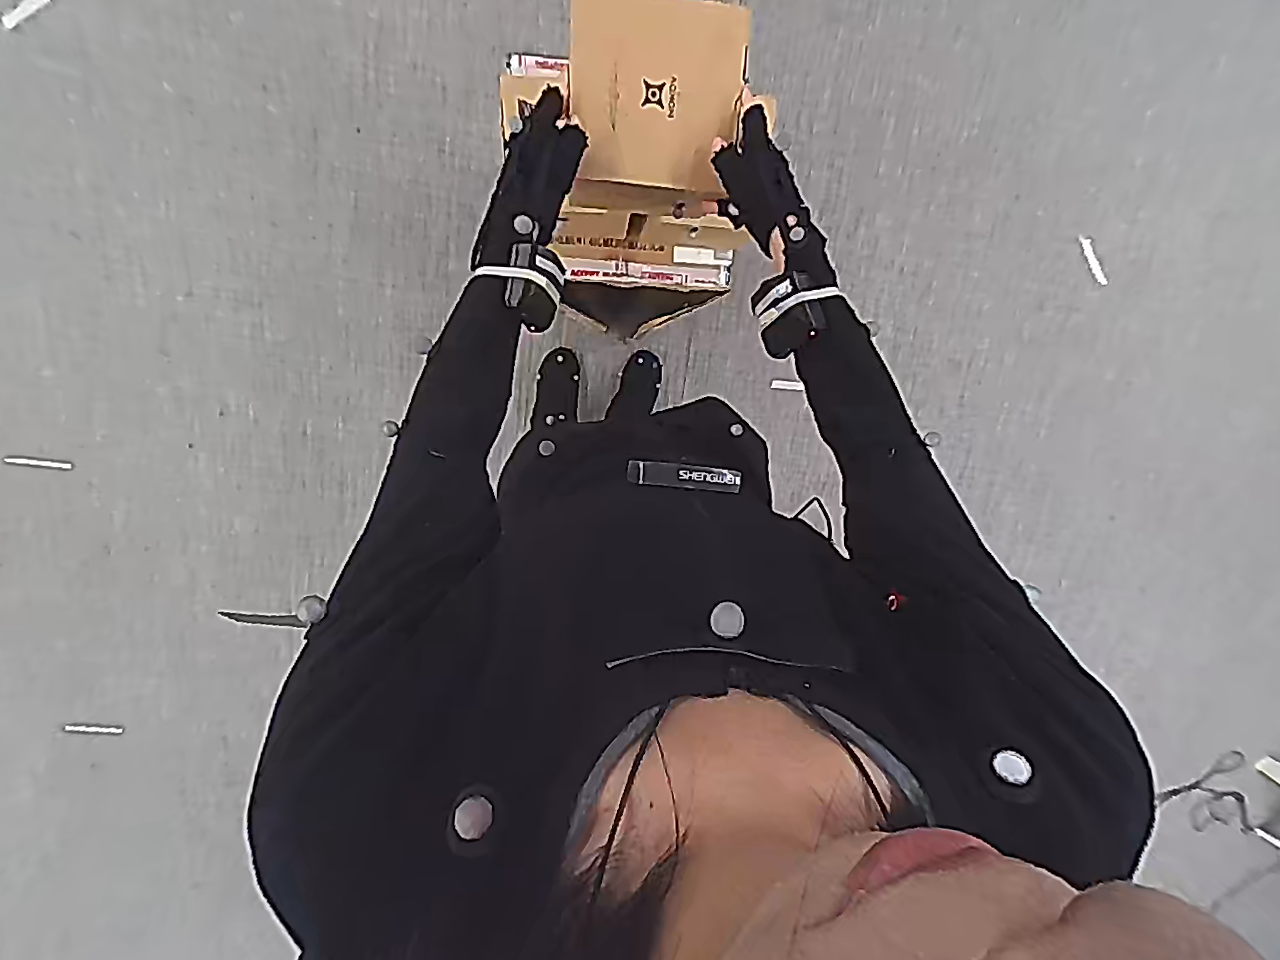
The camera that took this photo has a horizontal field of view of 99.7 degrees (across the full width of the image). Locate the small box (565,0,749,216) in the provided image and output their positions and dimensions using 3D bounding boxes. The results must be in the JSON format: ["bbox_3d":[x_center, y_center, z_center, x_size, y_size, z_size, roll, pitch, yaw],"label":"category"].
[{"bbox_3d":[0.006,-0.403,0.607,0.179,0.176,0.168,1,106,-7],"label":"small box"}]

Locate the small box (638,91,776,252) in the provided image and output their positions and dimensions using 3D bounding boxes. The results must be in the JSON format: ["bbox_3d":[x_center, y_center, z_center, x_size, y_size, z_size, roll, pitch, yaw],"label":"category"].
[{"bbox_3d":[0.092,-0.464,0.827,0.168,0.176,0.179,2,103,-8],"label":"small box"}]

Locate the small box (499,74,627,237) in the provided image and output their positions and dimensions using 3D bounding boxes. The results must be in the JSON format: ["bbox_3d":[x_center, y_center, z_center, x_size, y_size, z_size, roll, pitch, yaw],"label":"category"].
[{"bbox_3d":[-0.105,-0.469,0.807,0.179,0.176,0.168,0,104,-4],"label":"small box"}]
